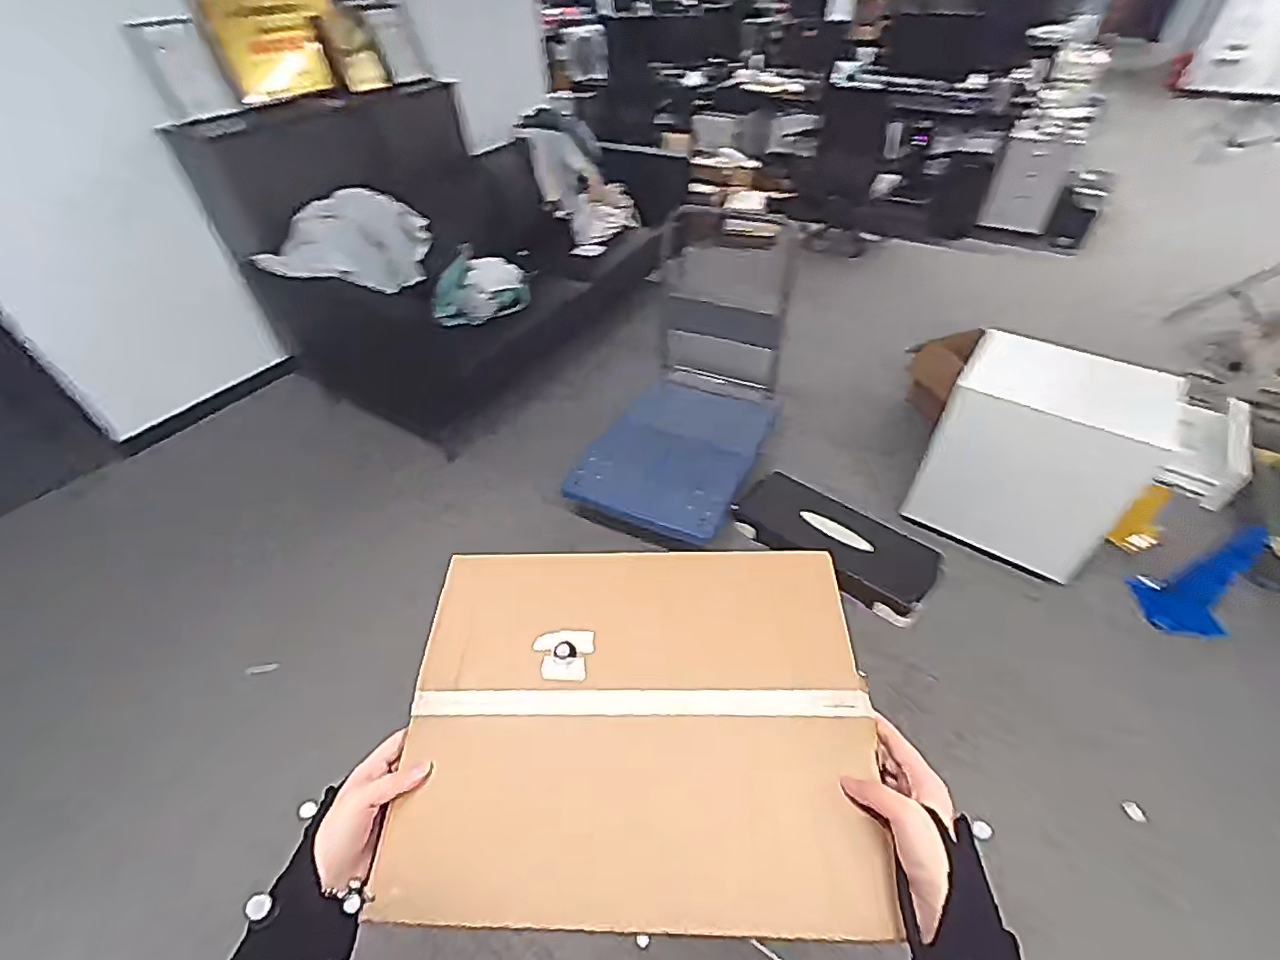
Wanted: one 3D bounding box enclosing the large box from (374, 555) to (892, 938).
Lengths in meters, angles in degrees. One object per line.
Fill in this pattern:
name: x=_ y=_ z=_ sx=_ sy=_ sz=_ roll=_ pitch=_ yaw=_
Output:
large box: x=0.002 y=0.304 z=0.614 sx=0.408 sy=0.320 sz=0.320 roll=-3 pitch=52 yaw=4
